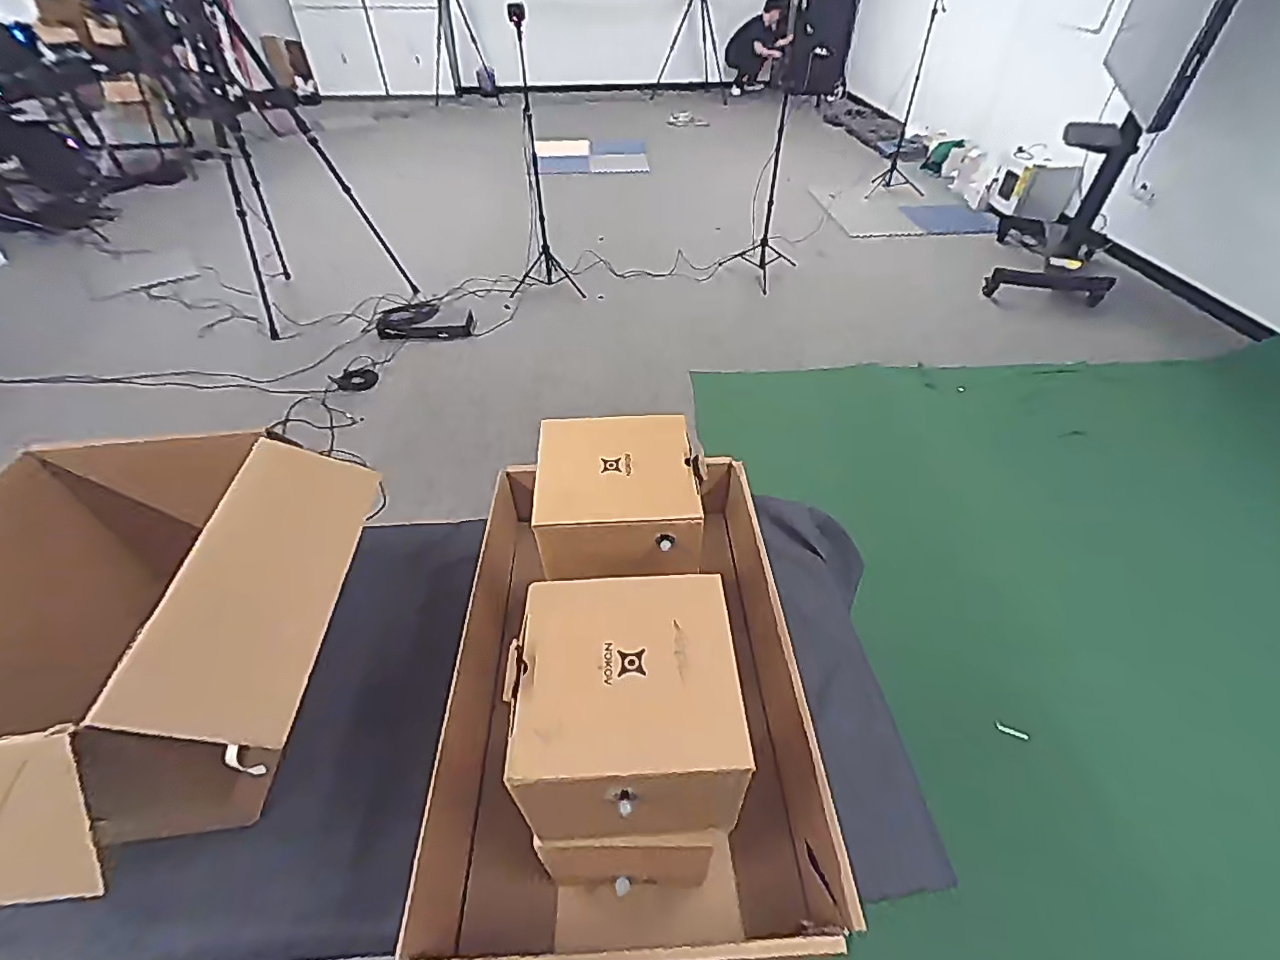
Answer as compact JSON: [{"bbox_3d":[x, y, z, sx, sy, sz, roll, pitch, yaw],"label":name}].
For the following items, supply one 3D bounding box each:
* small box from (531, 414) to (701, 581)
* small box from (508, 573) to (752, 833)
[{"bbox_3d":[-0.026,0.039,0.655,0.179,0.176,0.168,-3,47,-2],"label":"small box"},{"bbox_3d":[-0.008,0.203,0.489,0.179,0.176,0.168,-2,45,-1],"label":"small box"}]
